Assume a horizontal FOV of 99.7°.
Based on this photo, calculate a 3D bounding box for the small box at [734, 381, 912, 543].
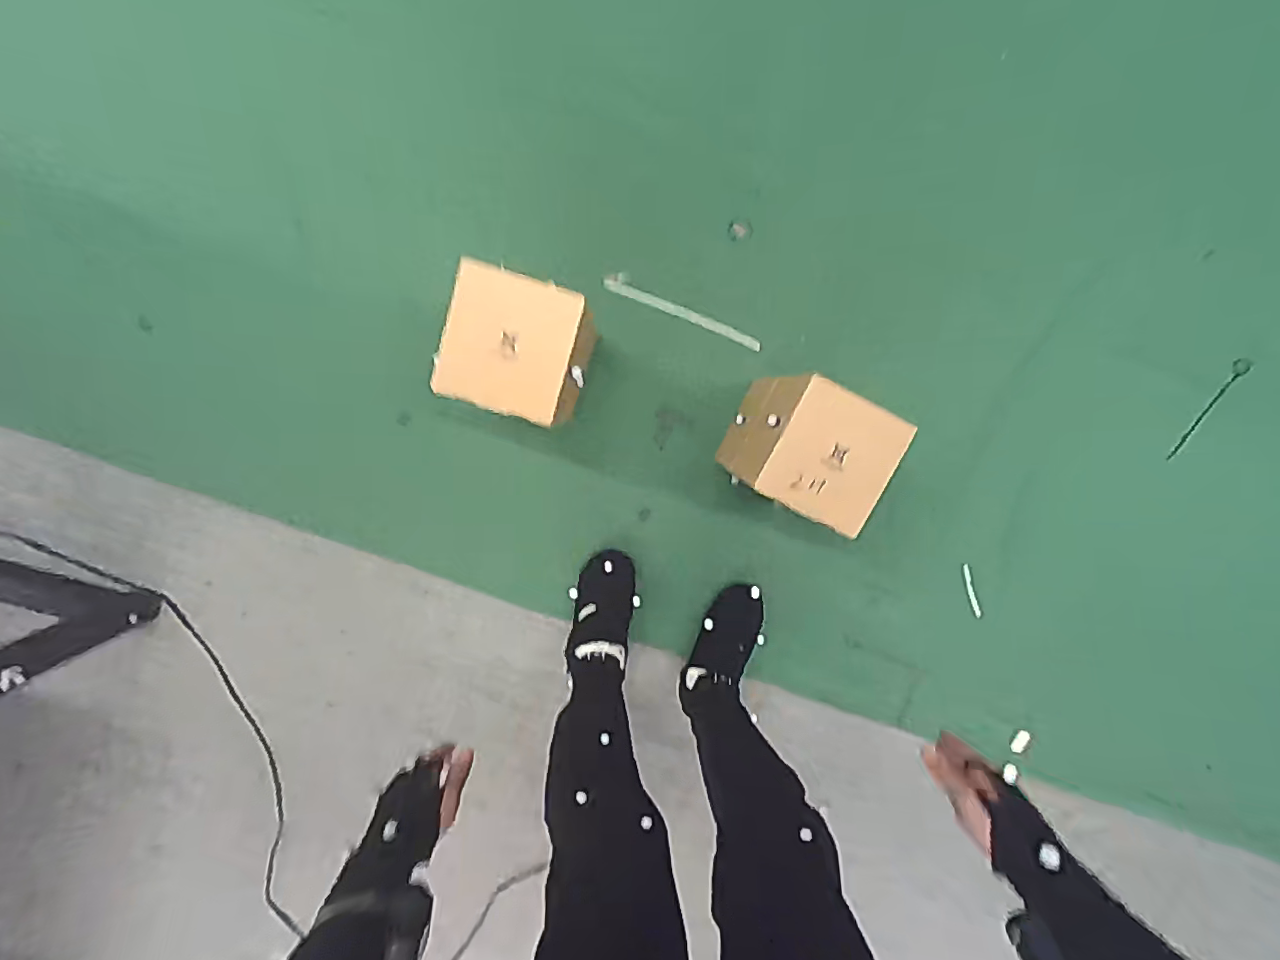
[{"bbox_3d":[0.260,-0.035,0.820,0.168,0.176,0.179,27,98,-5],"label":"small box"}]

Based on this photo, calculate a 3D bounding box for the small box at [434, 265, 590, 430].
[{"bbox_3d":[-0.174,-0.184,0.789,0.168,0.176,0.179,17,99,-4],"label":"small box"}]
